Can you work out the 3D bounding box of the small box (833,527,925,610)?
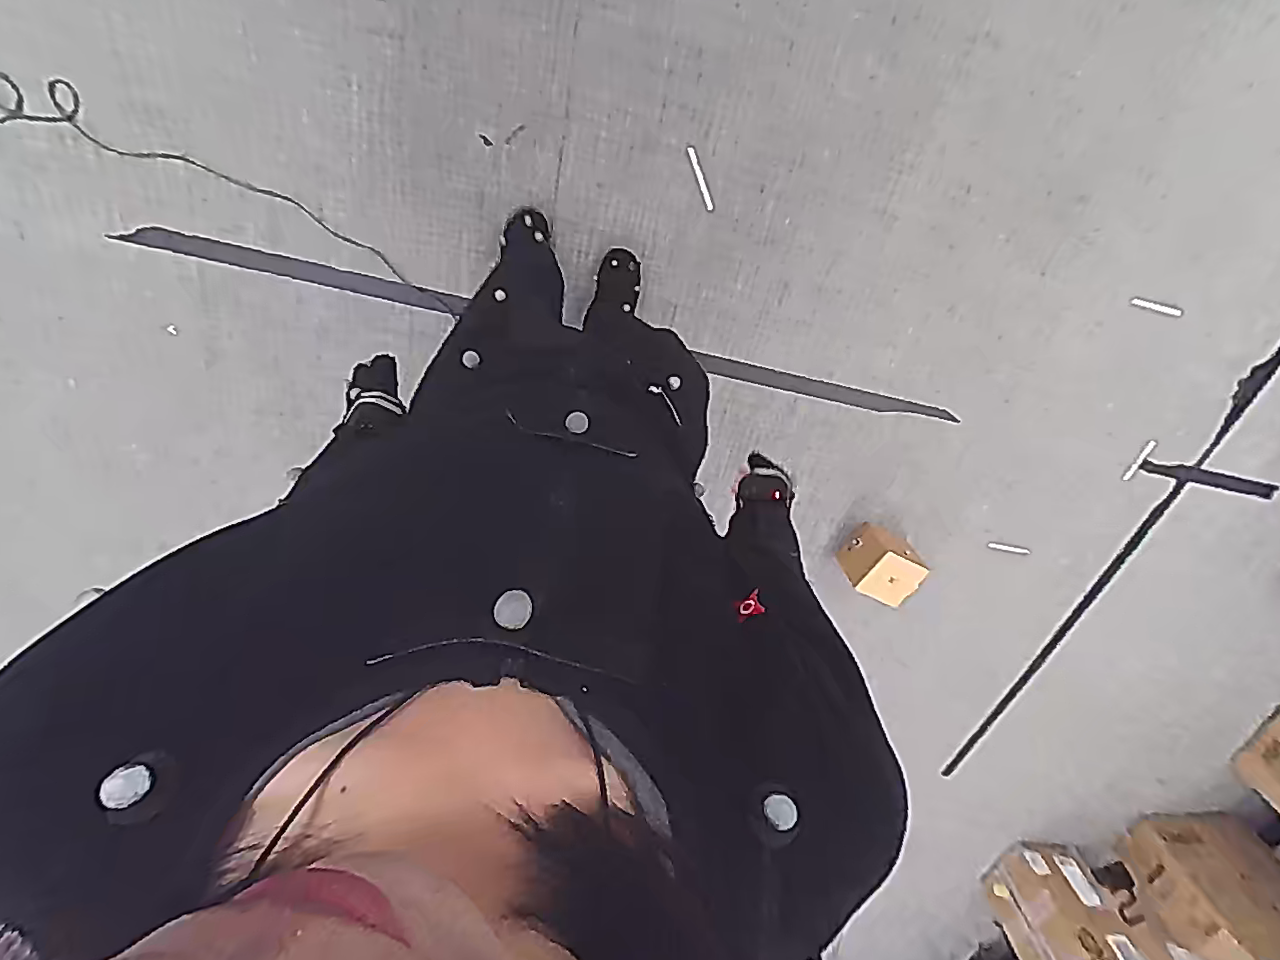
[{"bbox_3d":[0.758,0.278,1.731,0.179,0.176,0.168,25,114,-15],"label":"small box"}]
